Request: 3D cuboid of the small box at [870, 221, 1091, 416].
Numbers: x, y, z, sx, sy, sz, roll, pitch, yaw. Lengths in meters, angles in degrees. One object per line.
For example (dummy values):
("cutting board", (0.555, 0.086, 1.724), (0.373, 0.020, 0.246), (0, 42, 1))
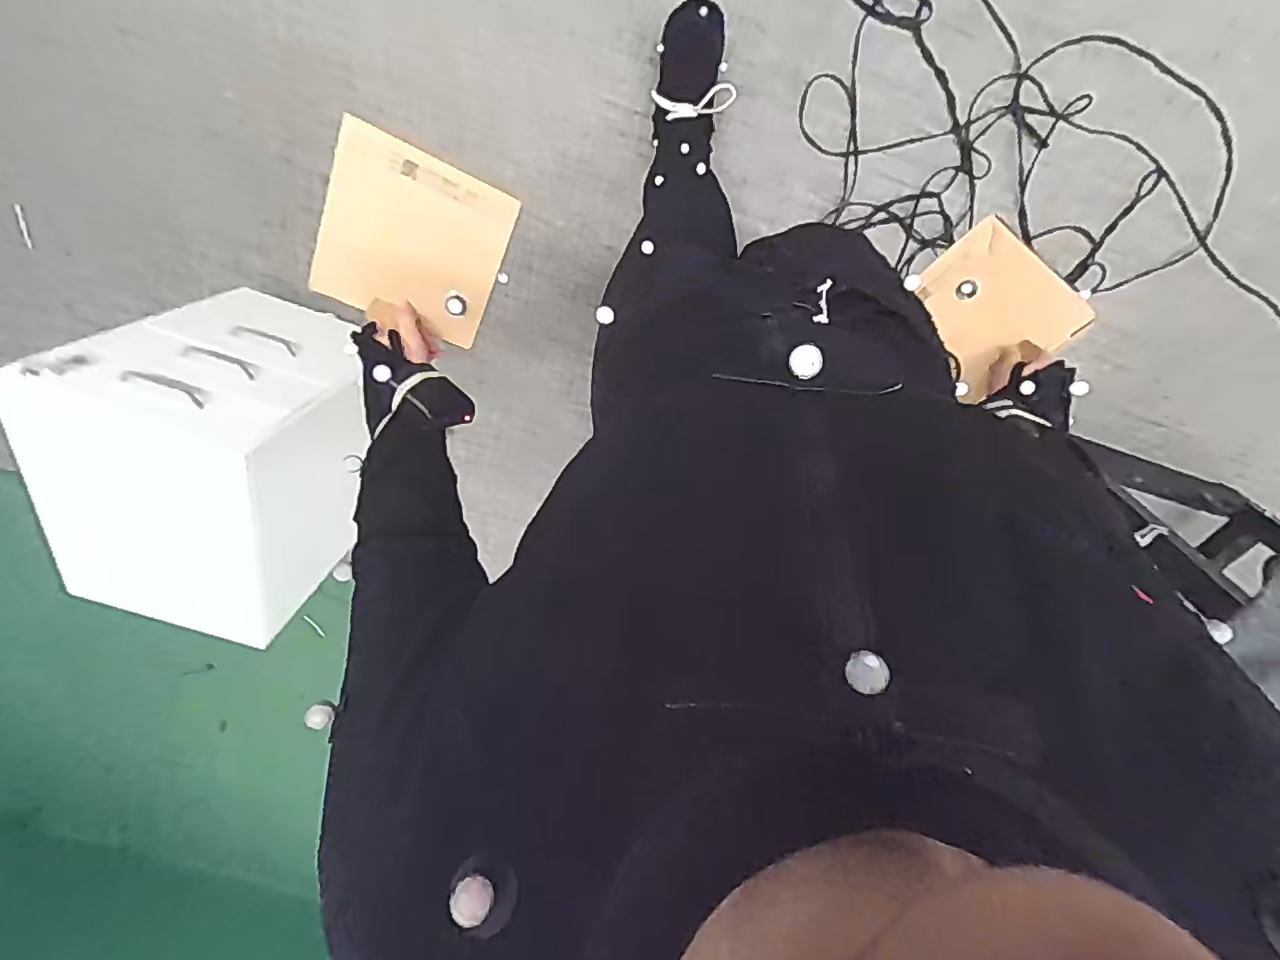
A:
("small box", (0.433, -0.201, 0.706), (0.168, 0.179, 0.176), (-41, 72, 30))
